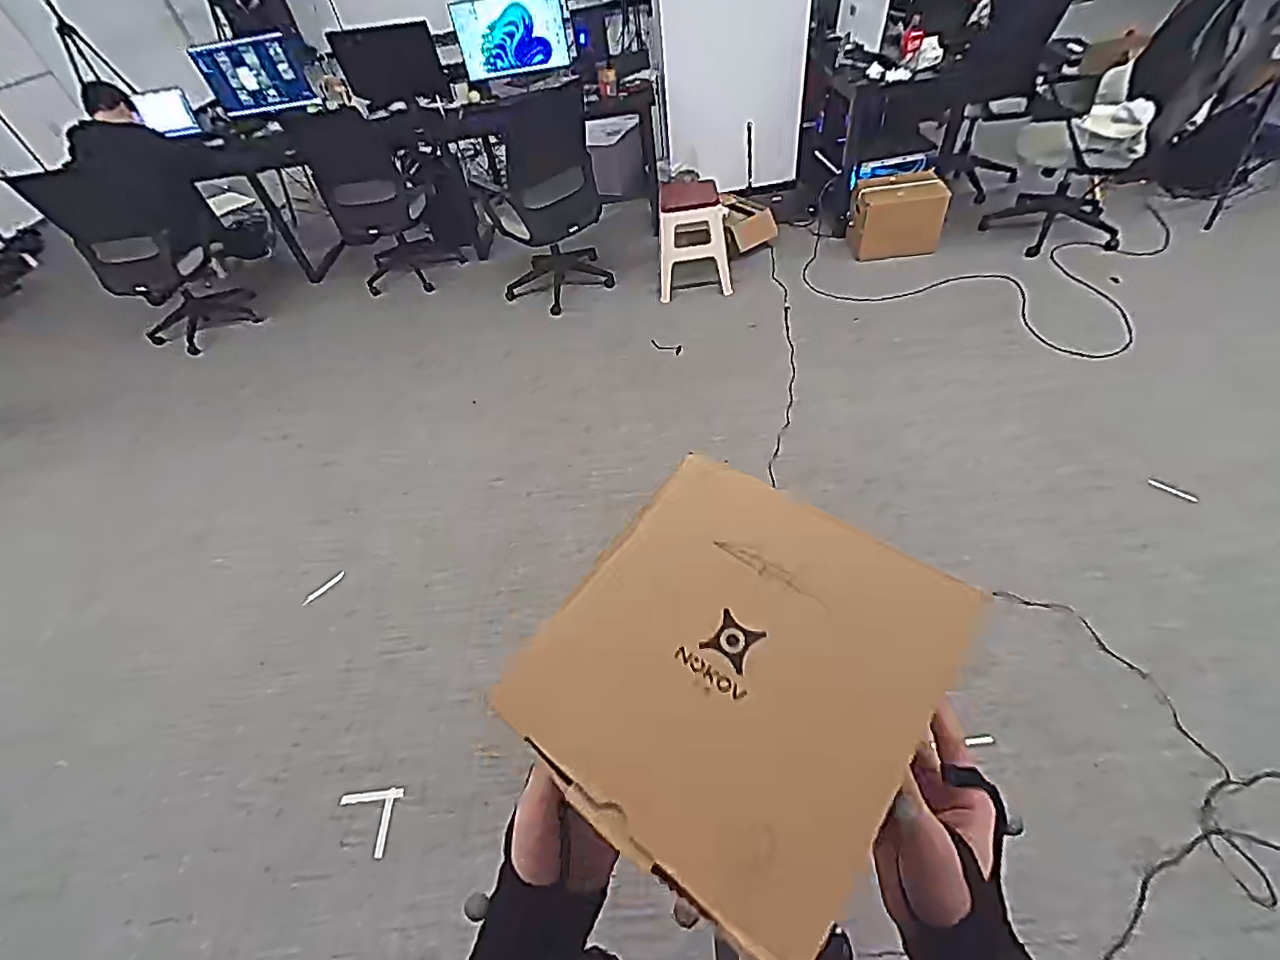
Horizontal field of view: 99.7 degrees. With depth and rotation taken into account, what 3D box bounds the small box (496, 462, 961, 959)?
[{"bbox_3d":[0.054,0.128,0.326,0.168,0.176,0.179,28,63,29],"label":"small box"}]
